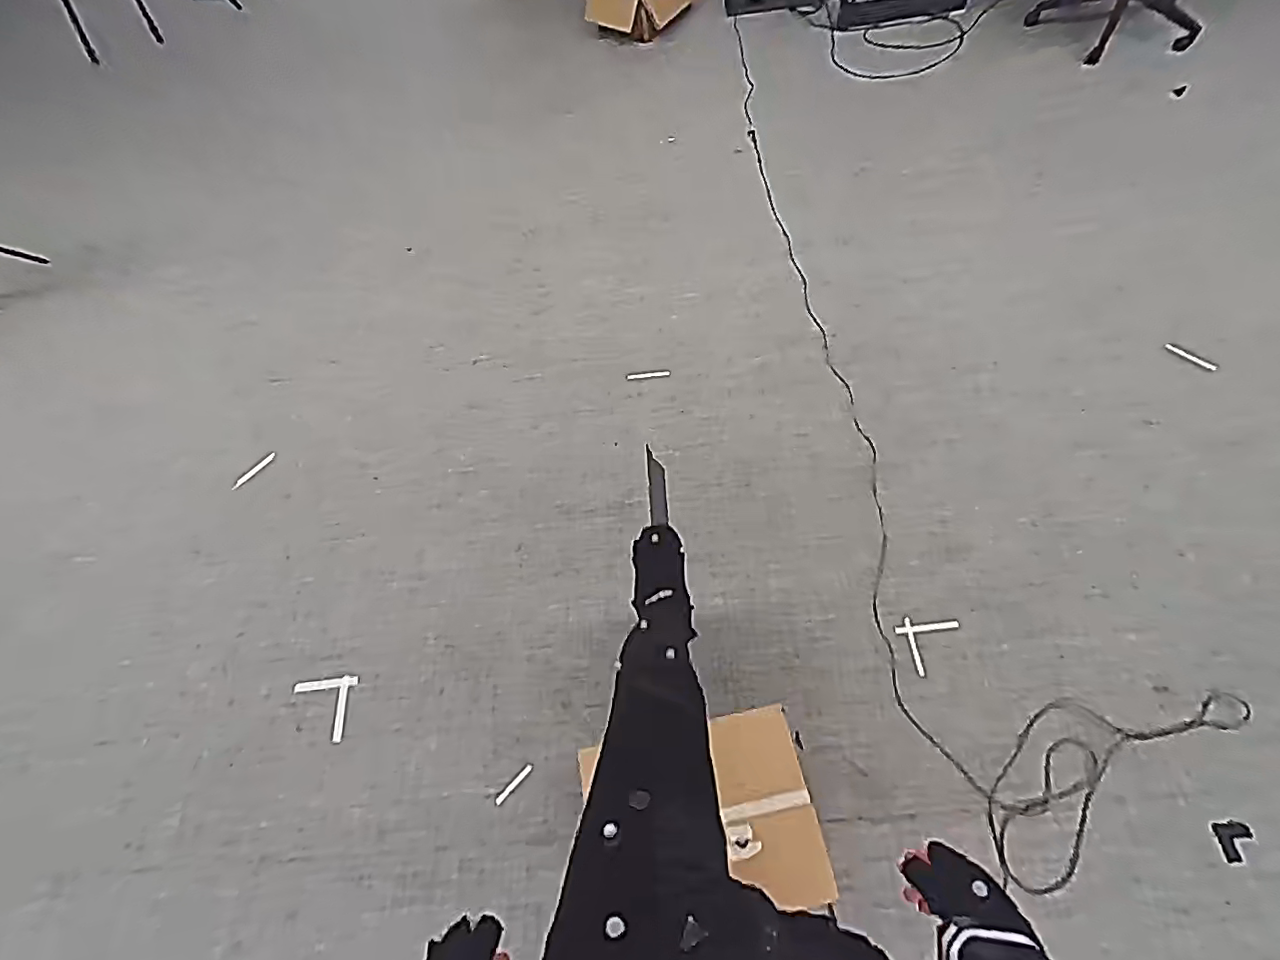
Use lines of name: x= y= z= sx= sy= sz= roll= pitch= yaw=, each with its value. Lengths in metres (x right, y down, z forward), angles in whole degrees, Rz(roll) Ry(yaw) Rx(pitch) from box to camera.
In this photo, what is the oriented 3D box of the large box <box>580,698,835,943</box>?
large box: x=0.121 y=0.668 z=1.105 sx=0.408 sy=0.320 sz=0.320 roll=-13 pitch=62 yaw=0
